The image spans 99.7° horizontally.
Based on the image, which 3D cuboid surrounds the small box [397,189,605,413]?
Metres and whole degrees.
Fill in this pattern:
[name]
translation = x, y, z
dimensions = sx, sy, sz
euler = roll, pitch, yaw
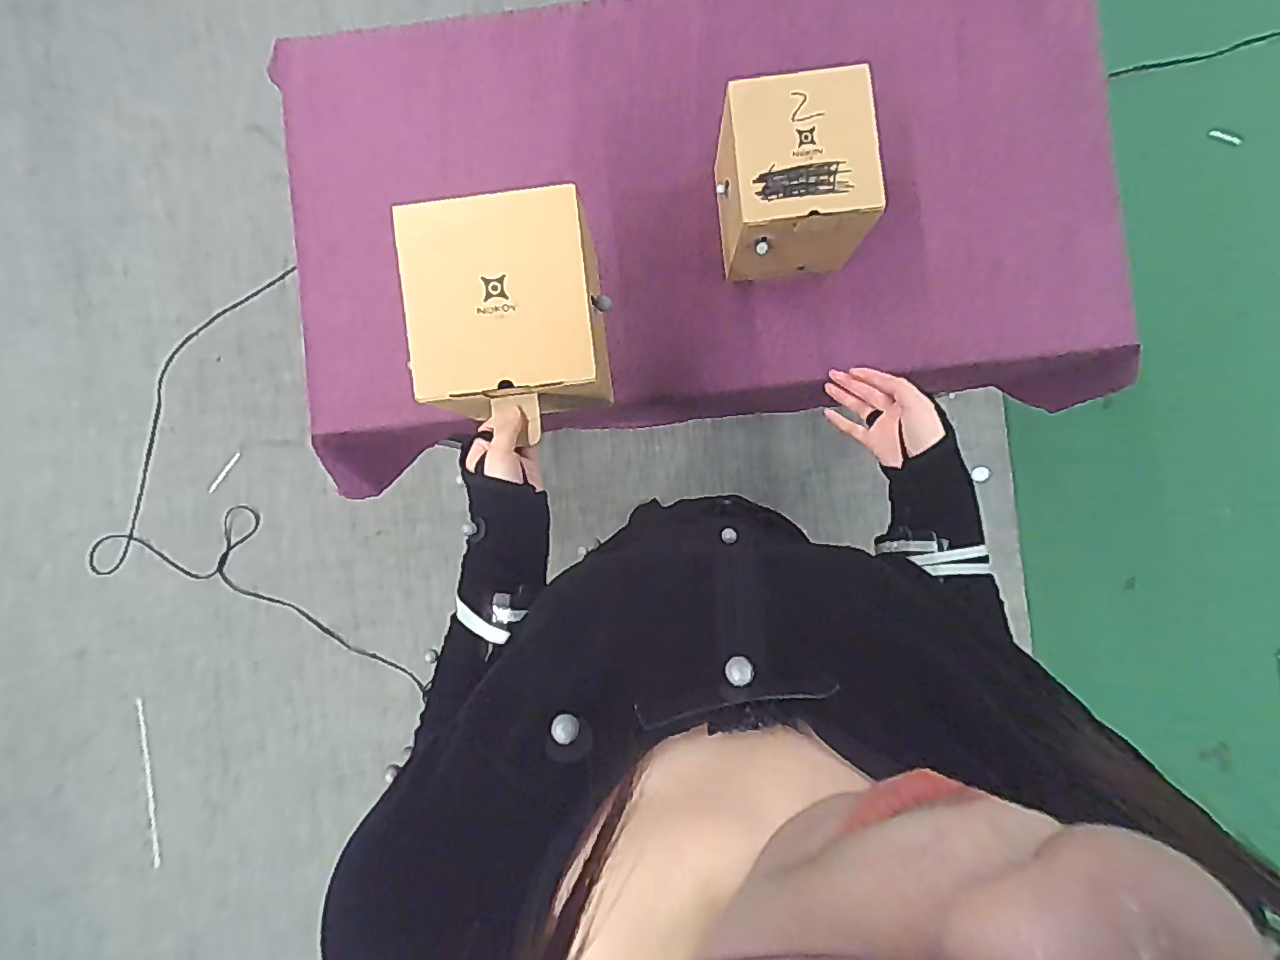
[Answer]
[small box]
translation = -0.131, -0.172, 0.572
dimensions = 0.168, 0.176, 0.179
euler = -6, 92, 1
